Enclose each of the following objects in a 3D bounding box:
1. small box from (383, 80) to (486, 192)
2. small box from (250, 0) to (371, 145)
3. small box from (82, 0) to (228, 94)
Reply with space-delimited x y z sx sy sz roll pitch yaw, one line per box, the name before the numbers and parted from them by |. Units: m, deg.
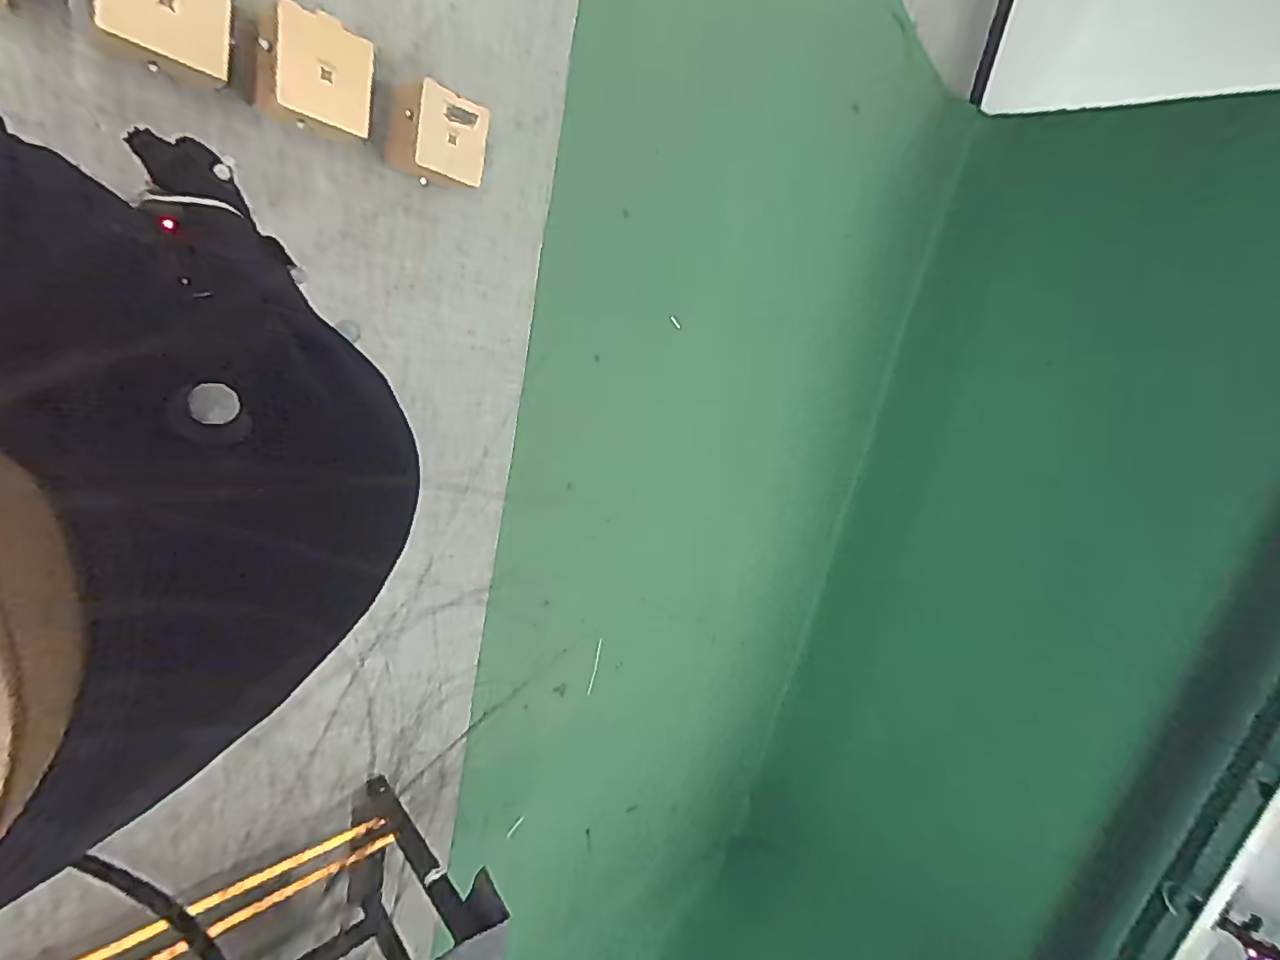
small box | -0.493 -0.807 1.288 0.168 0.176 0.179 -4 112 -48
small box | -0.667 -0.802 1.091 0.168 0.176 0.179 -6 112 -48
small box | -0.820 -0.792 0.916 0.168 0.176 0.179 -3 110 -49
